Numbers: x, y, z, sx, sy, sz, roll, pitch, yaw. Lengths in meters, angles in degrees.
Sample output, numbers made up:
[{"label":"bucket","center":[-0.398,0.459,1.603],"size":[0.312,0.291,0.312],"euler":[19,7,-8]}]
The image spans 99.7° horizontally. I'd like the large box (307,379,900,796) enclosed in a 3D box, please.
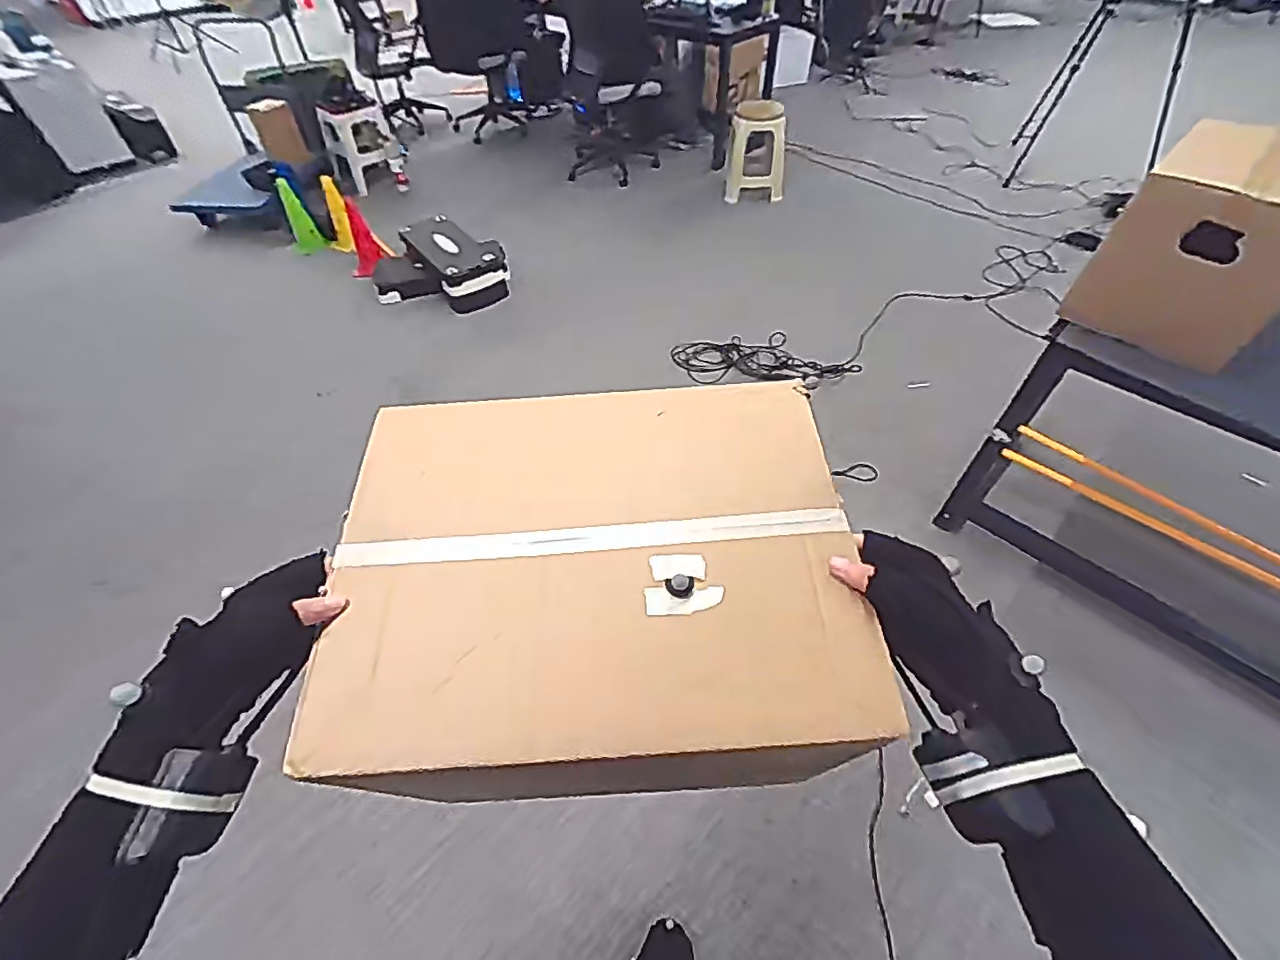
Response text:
[{"label":"large box","center":[-0.030,0.125,0.560],"size":[0.408,0.320,0.320],"euler":[-4,57,-1]}]
